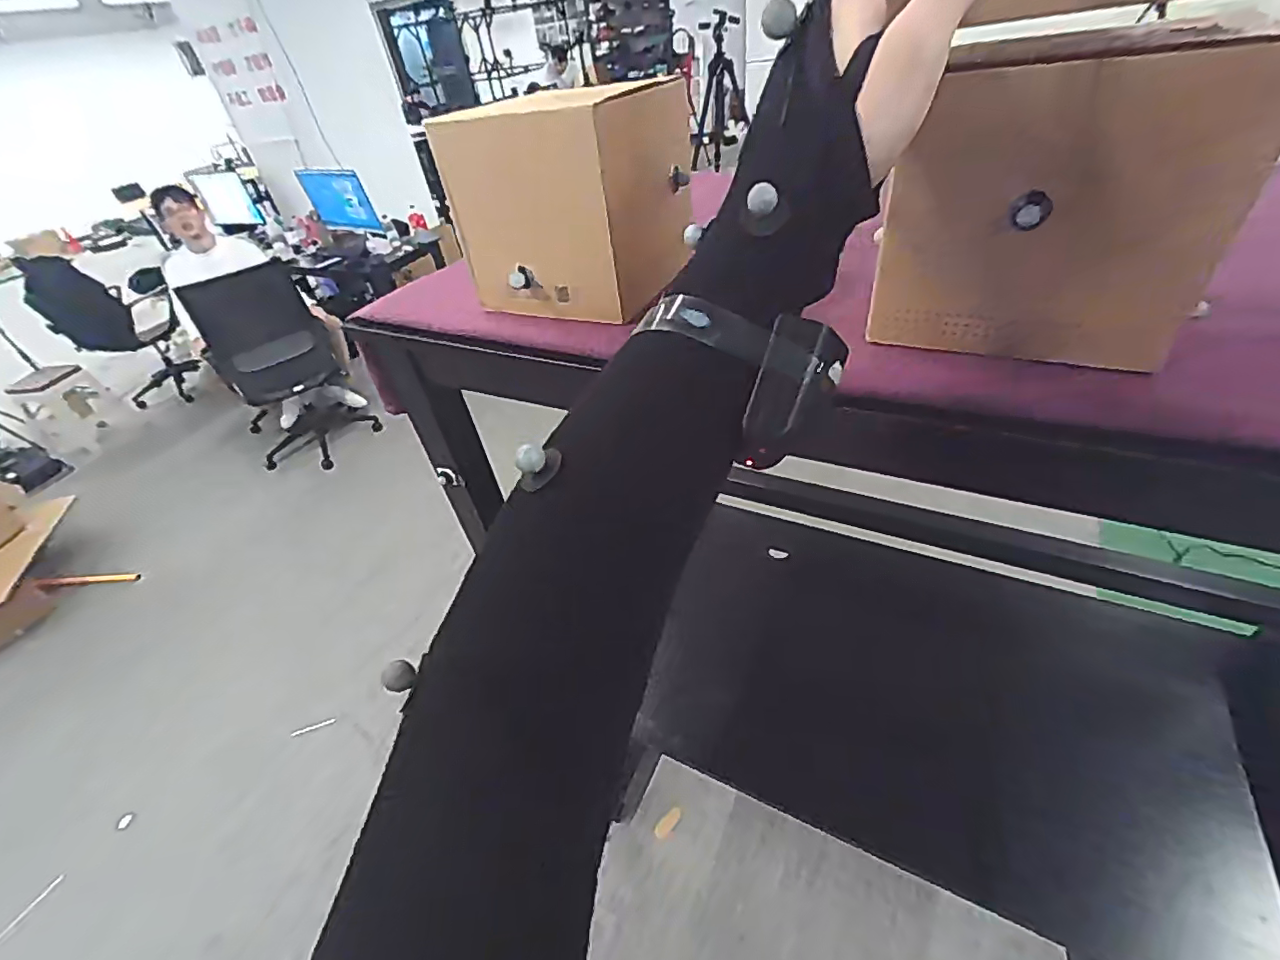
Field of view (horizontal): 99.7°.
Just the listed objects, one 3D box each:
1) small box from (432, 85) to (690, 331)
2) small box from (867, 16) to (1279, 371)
[{"bbox_3d":[-0.057,-0.263,0.522,0.168,0.176,0.179,12,44,25],"label":"small box"},{"bbox_3d":[0.272,-0.190,0.371,0.179,0.176,0.168,14,44,27],"label":"small box"}]
